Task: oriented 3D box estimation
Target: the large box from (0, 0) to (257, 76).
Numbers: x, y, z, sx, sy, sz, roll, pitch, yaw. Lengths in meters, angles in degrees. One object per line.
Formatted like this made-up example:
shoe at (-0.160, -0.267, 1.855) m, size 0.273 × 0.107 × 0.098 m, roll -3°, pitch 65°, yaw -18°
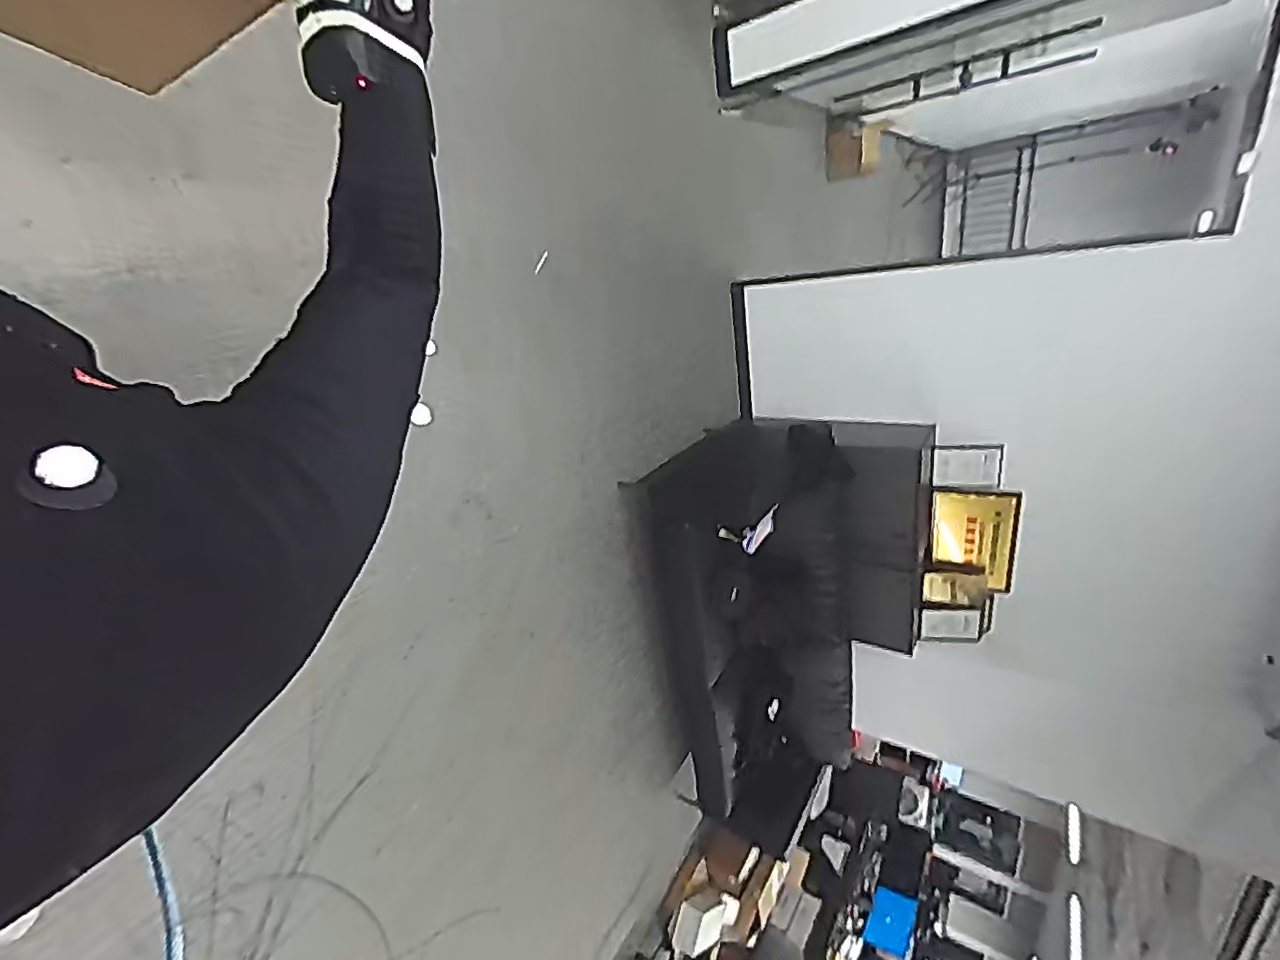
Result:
large box at (-0.459, -0.507, 0.273) m, size 0.408 × 0.320 × 0.320 m, roll -4°, pitch 106°, yaw -55°
